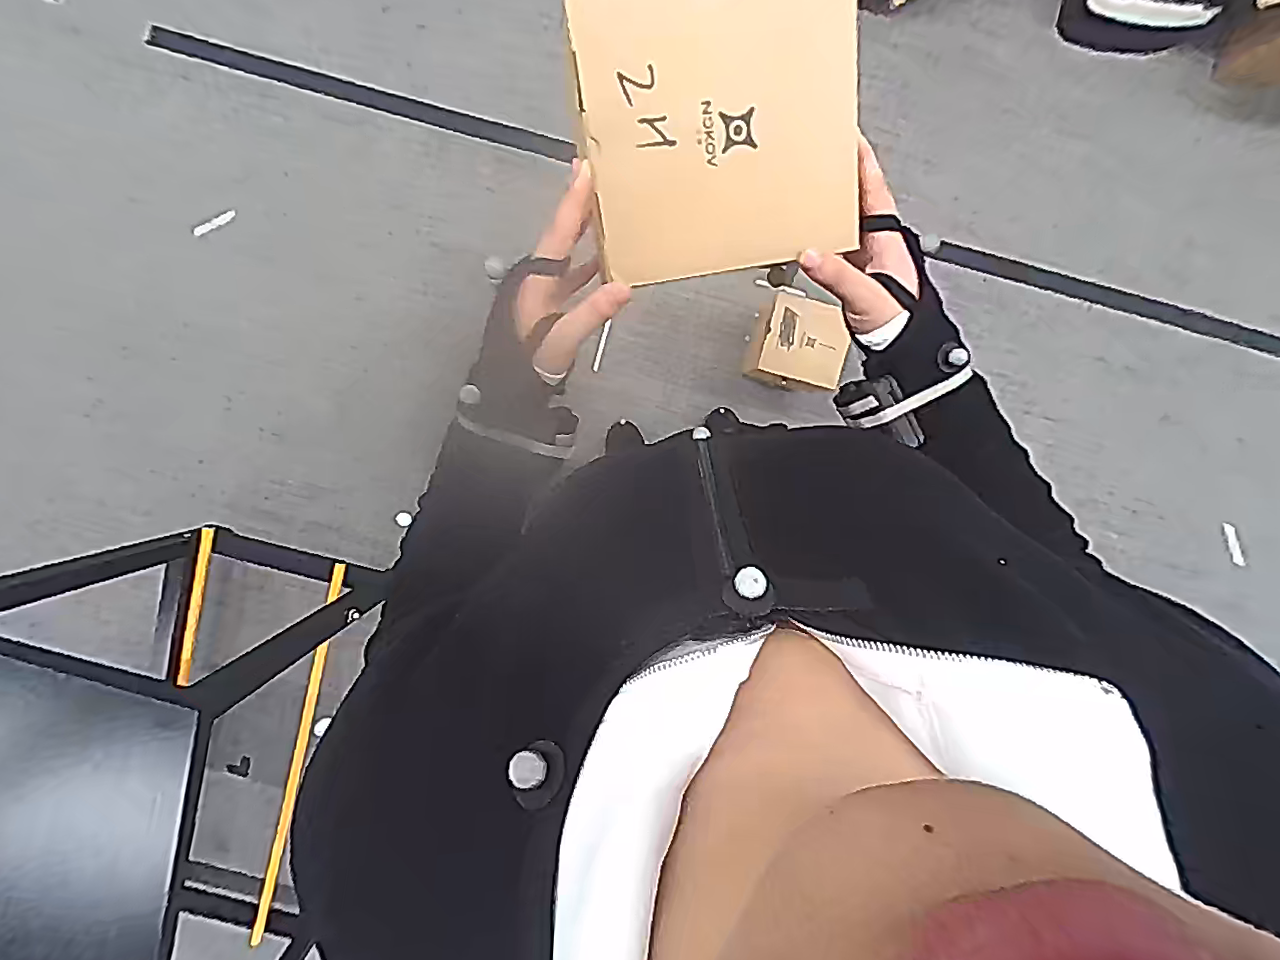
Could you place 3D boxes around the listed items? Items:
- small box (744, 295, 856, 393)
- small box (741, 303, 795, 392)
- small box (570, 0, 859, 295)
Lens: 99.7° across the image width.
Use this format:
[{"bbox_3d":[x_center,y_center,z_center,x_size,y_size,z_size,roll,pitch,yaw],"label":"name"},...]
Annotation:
[{"bbox_3d":[0.346,-0.294,1.207,0.179,0.176,0.168,15,98,-1],"label":"small box"},{"bbox_3d":[0.364,-0.328,1.370,0.168,0.176,0.179,17,98,-1],"label":"small box"},{"bbox_3d":[0.045,-0.241,0.415,0.179,0.176,0.168,-9,110,-3],"label":"small box"}]
